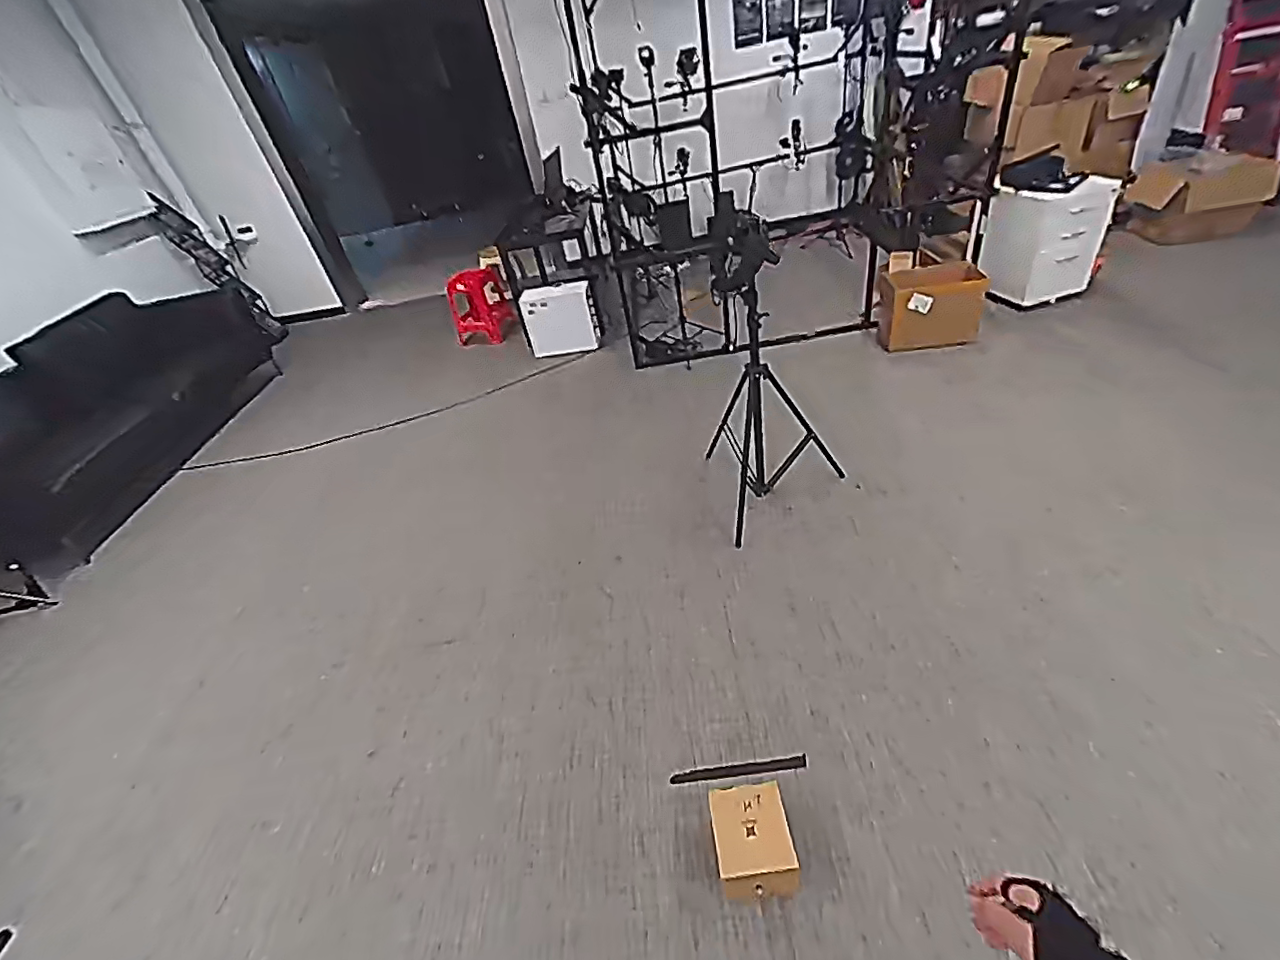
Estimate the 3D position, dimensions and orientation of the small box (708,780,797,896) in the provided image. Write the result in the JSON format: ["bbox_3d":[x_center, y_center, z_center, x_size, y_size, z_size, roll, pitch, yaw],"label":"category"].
[{"bbox_3d":[0.258,0.822,1.237,0.168,0.176,0.179,-10,37,3],"label":"small box"}]
